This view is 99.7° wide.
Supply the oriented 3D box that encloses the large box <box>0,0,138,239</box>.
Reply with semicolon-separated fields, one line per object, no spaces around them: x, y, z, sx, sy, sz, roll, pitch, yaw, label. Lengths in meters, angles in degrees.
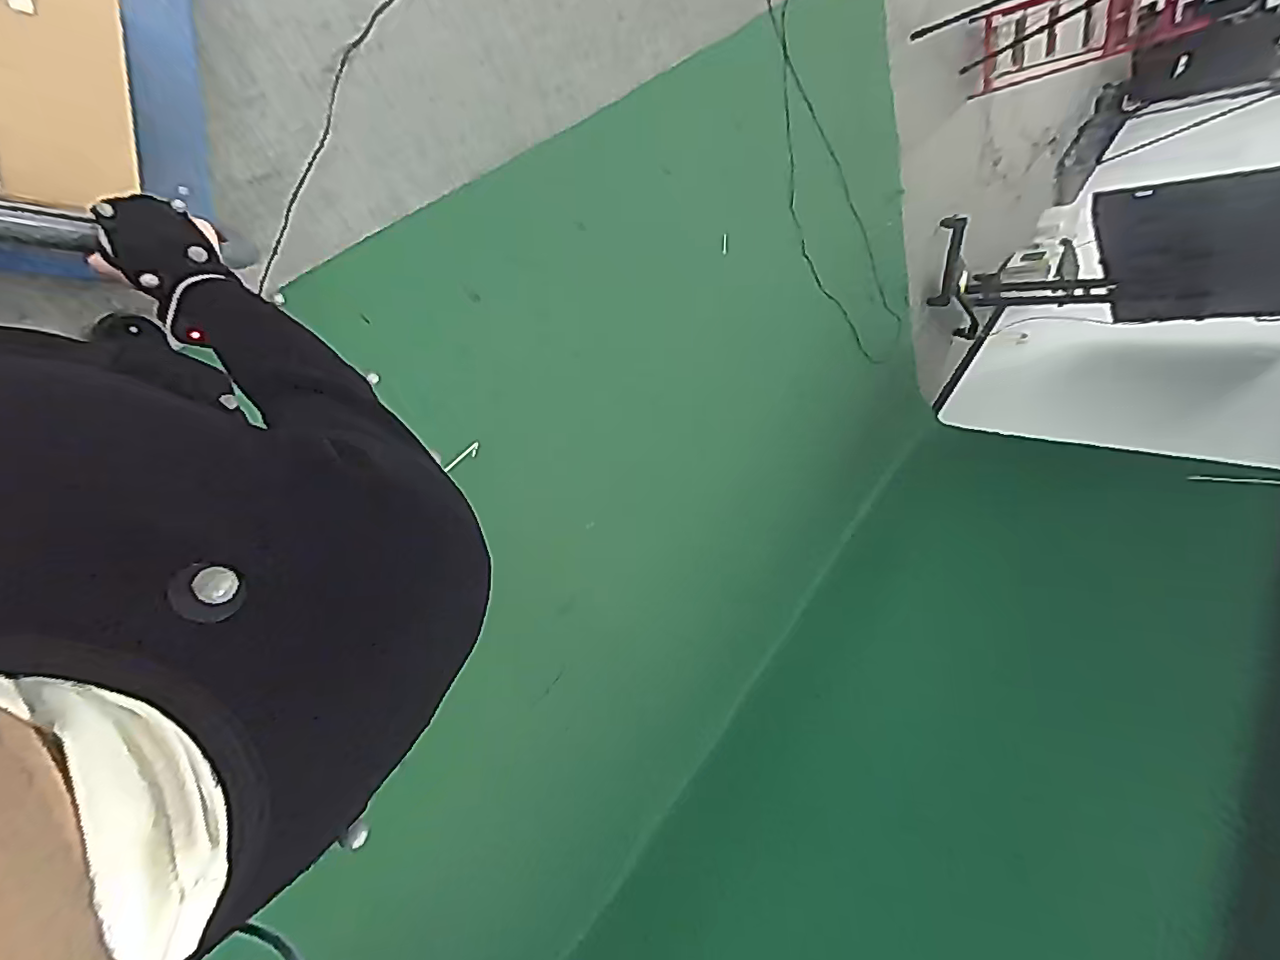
-0.979;-0.612;0.797;0.320;0.320;0.408;-8;106;-43;large box
